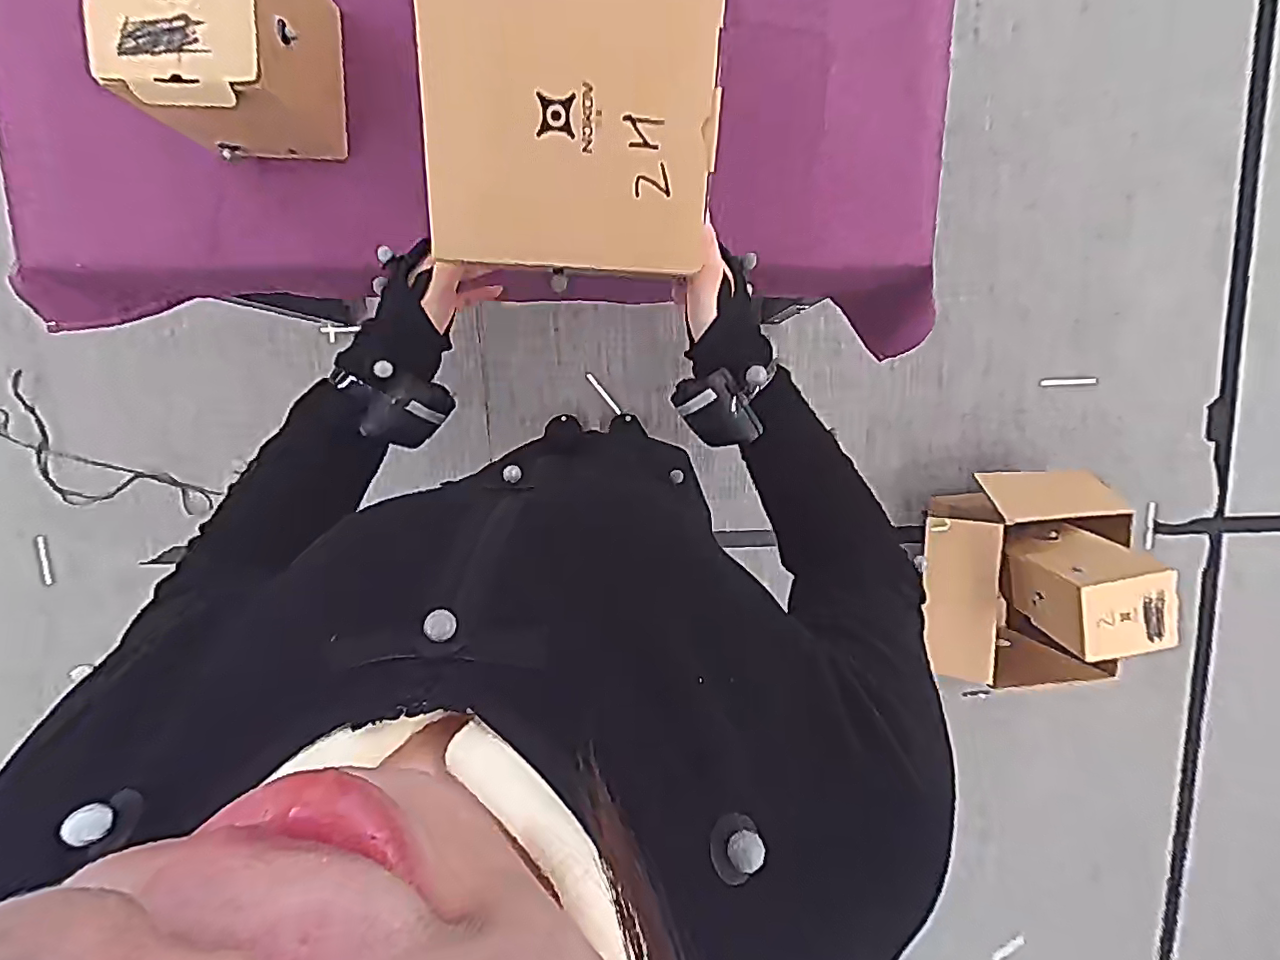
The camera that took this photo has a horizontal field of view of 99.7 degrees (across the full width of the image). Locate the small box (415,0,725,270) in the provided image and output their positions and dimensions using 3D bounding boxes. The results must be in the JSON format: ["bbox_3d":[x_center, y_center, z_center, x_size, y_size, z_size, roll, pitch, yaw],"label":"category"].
[{"bbox_3d":[-0.045,-0.247,0.394,0.179,0.176,0.168,2,110,-4],"label":"small box"}]

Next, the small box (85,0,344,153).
[{"bbox_3d":[-0.452,-0.489,0.598,0.168,0.176,0.179,1,98,-1],"label":"small box"}]

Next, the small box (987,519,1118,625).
[{"bbox_3d":[0.967,0.207,1.283,0.168,0.176,0.179,-22,102,6],"label":"small box"}]
